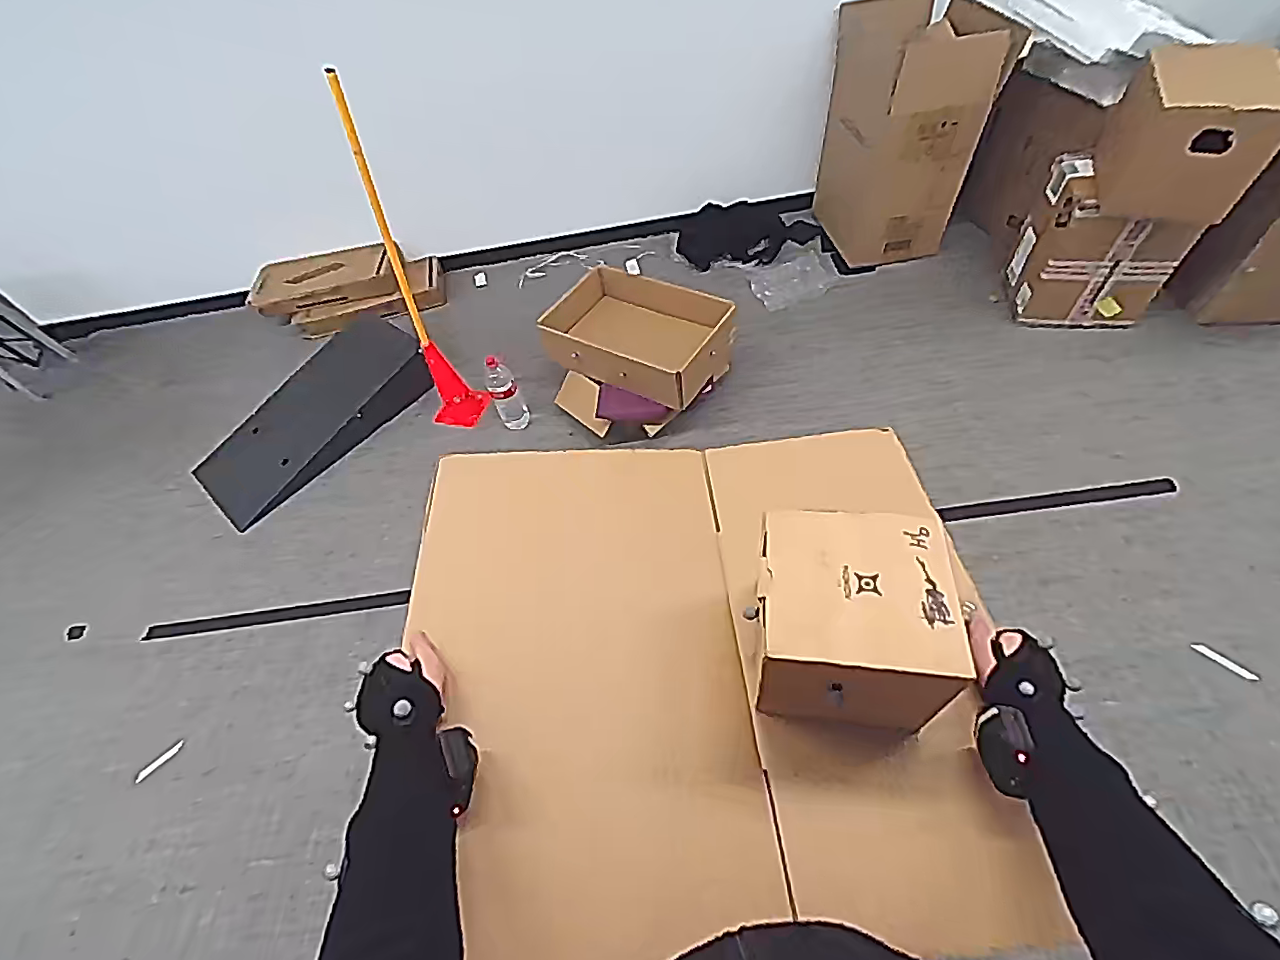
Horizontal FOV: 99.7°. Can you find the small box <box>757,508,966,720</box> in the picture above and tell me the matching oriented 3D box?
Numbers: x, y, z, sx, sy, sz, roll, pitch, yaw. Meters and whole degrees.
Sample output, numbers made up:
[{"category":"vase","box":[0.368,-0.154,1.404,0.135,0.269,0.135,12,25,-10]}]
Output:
[{"category":"small box","box":[0.218,0.147,0.585,0.179,0.176,0.168,2,53,12]}]
